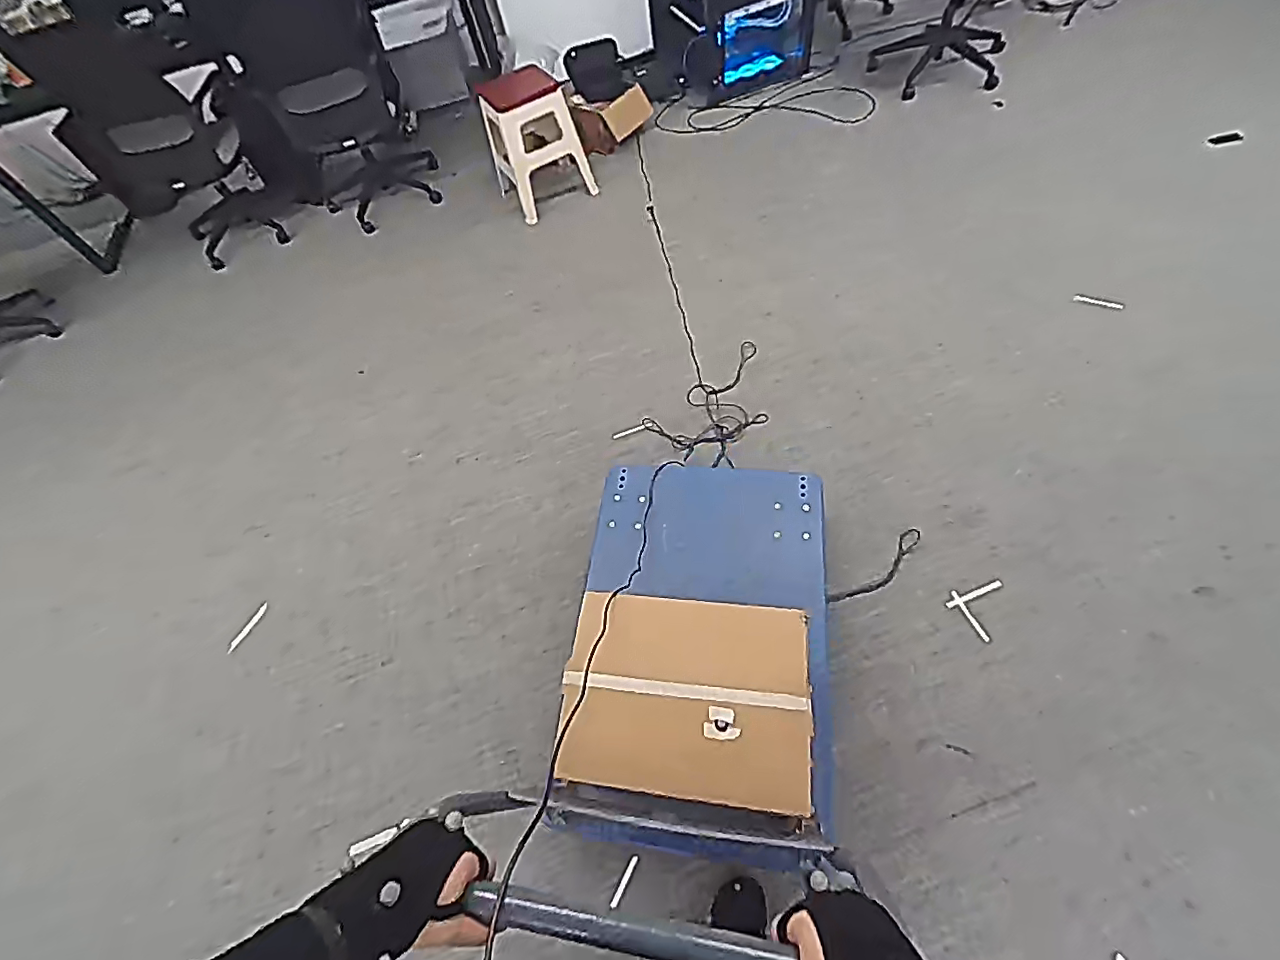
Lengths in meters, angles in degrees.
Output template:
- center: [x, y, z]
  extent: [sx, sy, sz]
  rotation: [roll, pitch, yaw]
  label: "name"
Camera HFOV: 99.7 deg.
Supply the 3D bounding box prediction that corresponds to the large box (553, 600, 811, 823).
- center: [0.090, 0.439, 1.019]
  extent: [0.408, 0.320, 0.320]
  rotation: [3, 60, 10]
  label: "large box"
